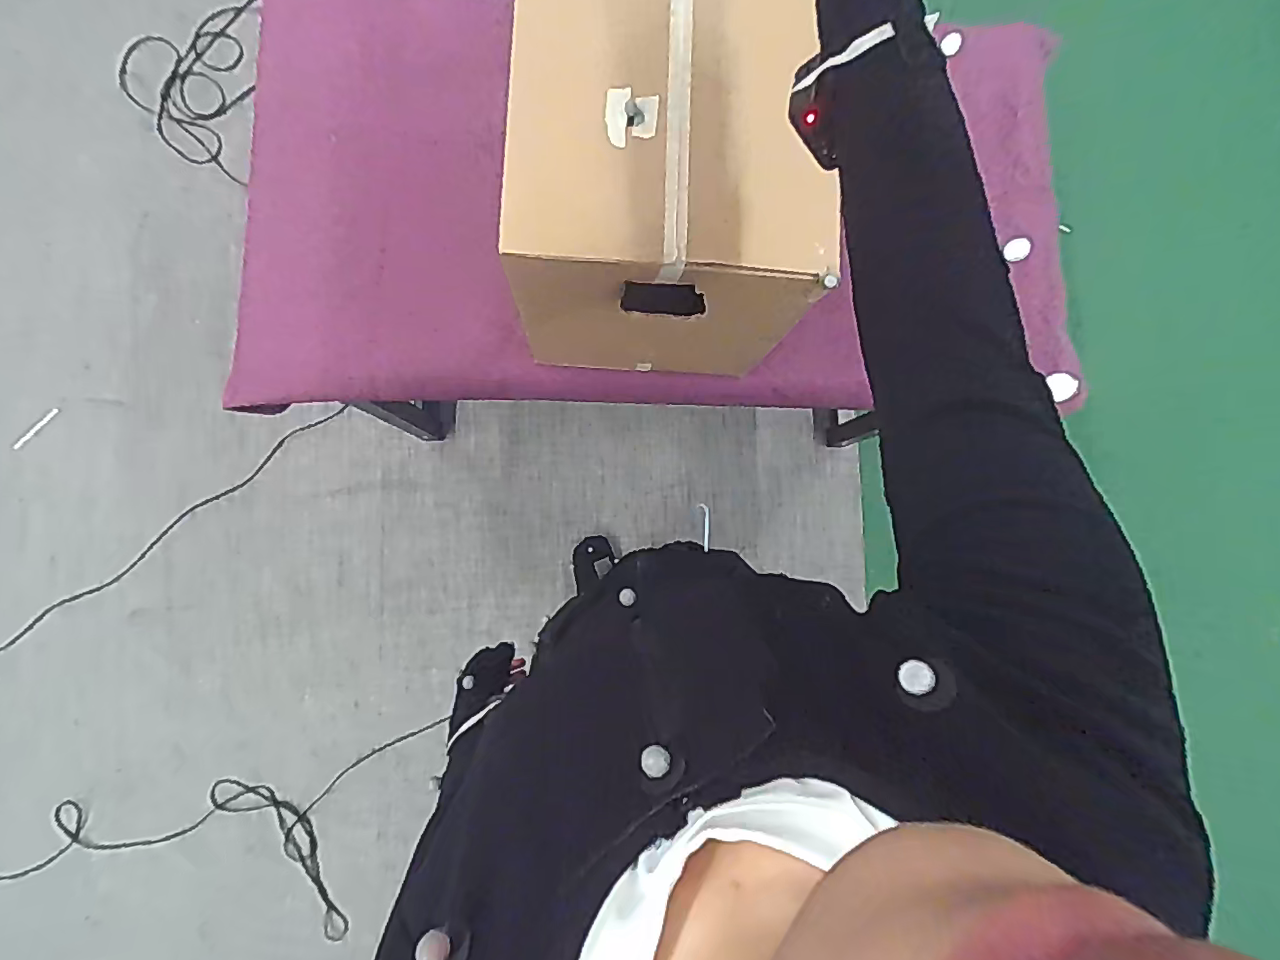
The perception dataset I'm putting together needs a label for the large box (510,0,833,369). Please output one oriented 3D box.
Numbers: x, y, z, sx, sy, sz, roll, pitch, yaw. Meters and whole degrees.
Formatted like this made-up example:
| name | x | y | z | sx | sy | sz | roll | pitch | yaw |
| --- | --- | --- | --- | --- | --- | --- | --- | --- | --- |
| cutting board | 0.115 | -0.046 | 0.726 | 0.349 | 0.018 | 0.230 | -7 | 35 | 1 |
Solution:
| name | x | y | z | sx | sy | sz | roll | pitch | yaw |
| --- | --- | --- | --- | --- | --- | --- | --- | --- | --- |
| large box | 0.025 | -0.383 | 0.670 | 0.320 | 0.320 | 0.408 | 3 | 85 | -4 |
